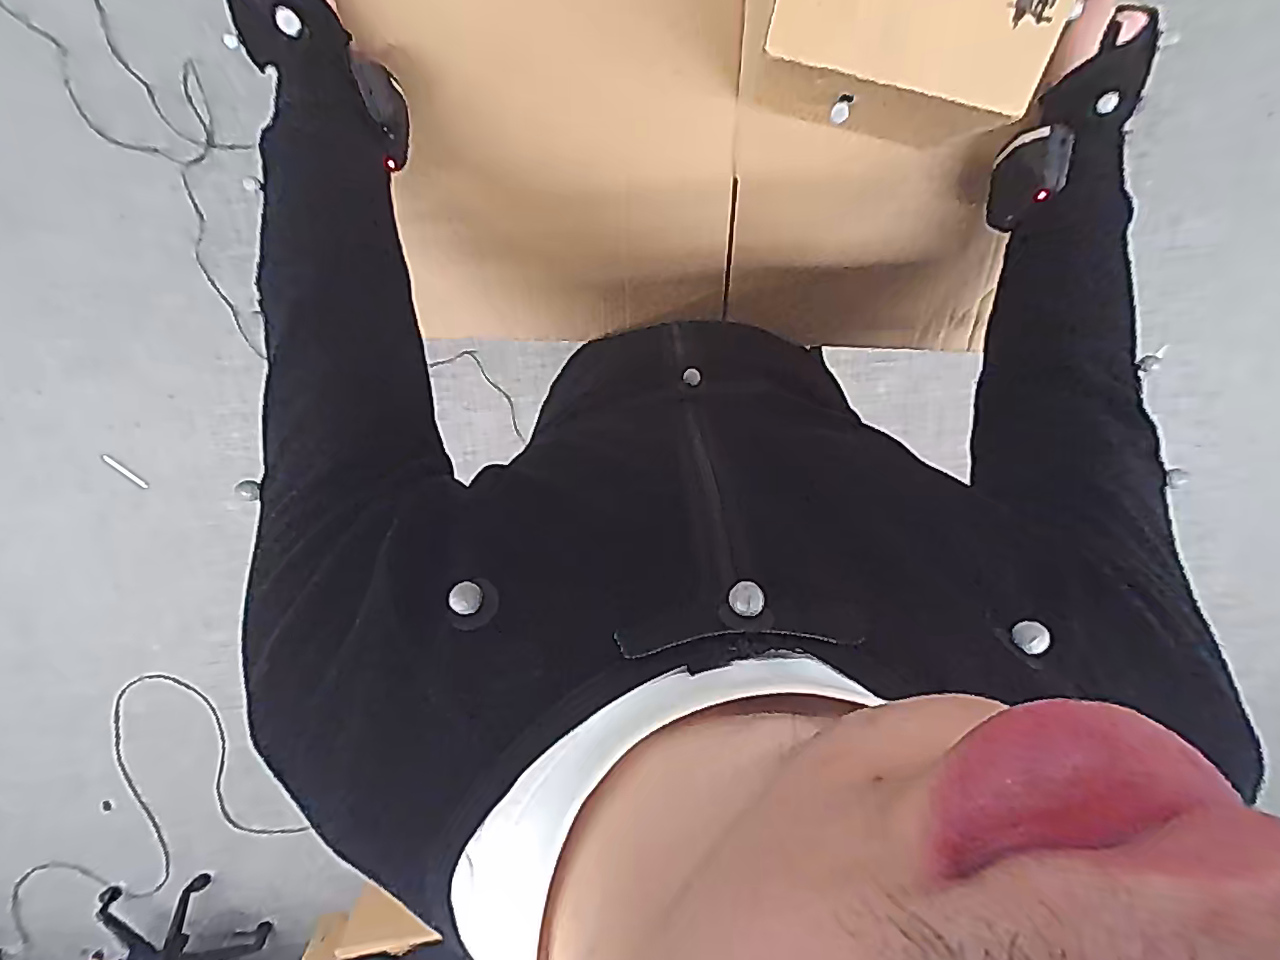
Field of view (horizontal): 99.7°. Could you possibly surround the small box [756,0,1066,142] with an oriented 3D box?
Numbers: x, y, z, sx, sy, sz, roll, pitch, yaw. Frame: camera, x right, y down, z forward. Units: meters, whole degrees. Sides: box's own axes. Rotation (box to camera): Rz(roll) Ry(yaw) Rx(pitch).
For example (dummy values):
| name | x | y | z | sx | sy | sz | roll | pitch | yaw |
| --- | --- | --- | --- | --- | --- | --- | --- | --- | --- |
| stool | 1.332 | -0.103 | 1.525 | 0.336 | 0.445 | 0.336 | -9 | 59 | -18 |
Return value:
| name | x | y | z | sx | sy | sz | roll | pitch | yaw |
| --- | --- | --- | --- | --- | --- | --- | --- | --- | --- |
| small box | 0.192 | -0.366 | 0.393 | 0.179 | 0.176 | 0.168 | 15 | 116 | 1 |
